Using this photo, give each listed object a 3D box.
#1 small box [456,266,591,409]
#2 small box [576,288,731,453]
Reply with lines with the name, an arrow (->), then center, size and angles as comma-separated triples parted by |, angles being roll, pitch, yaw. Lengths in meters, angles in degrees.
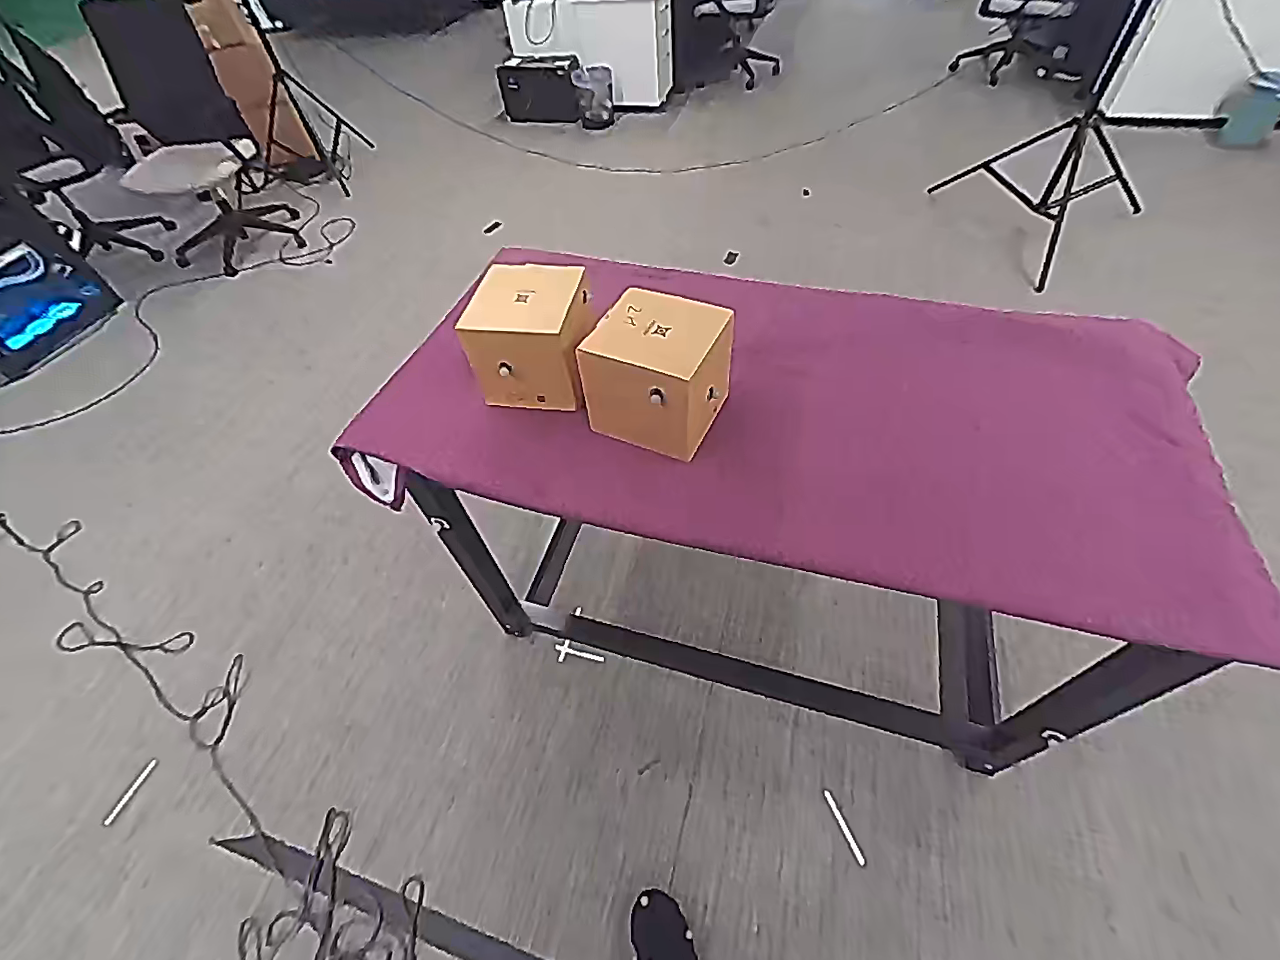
small box -> -0.179, -0.237, 0.913 | 0.168, 0.176, 0.179 | 4, 53, 9
small box -> 0.027, -0.164, 0.834 | 0.179, 0.176, 0.168 | 19, 55, 20
